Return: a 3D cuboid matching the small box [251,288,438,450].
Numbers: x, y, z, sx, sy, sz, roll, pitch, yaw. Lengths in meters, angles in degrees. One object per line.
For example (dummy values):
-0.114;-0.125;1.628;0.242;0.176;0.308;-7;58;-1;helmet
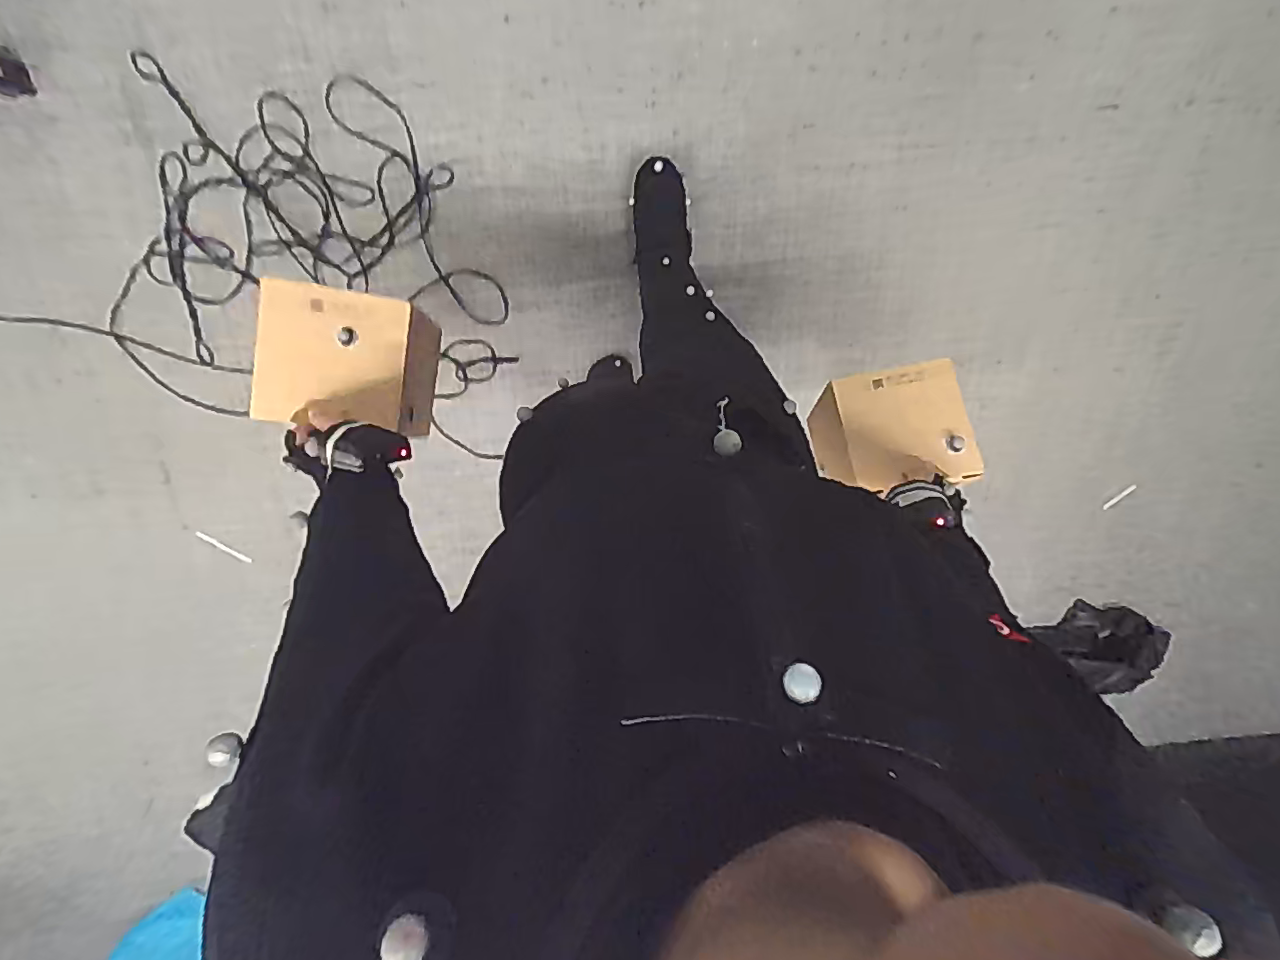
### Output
-0.377;-0.137;0.722;0.168;0.179;0.176;8;92;-10;small box
